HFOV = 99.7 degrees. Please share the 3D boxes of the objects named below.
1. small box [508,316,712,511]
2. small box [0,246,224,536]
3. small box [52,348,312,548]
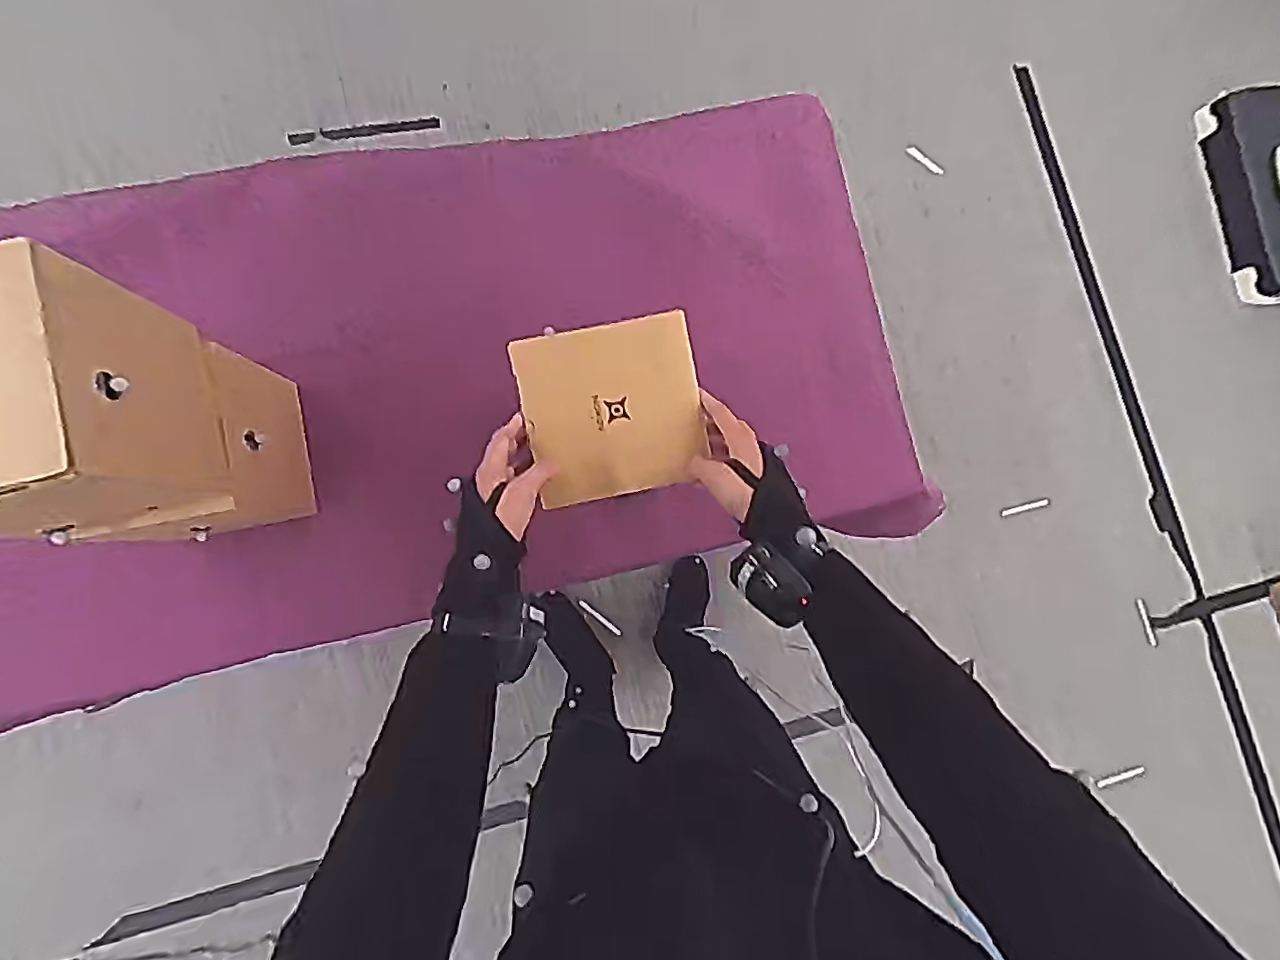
[{"bbox_3d":[-0.030,-0.070,0.604,0.179,0.176,0.168,-12,93,0],"label":"small box"},{"bbox_3d":[-0.486,-0.054,0.441,0.168,0.176,0.179,-15,86,-7],"label":"small box"},{"bbox_3d":[-0.497,-0.028,0.603,0.168,0.176,0.179,-11,86,-7],"label":"small box"}]
